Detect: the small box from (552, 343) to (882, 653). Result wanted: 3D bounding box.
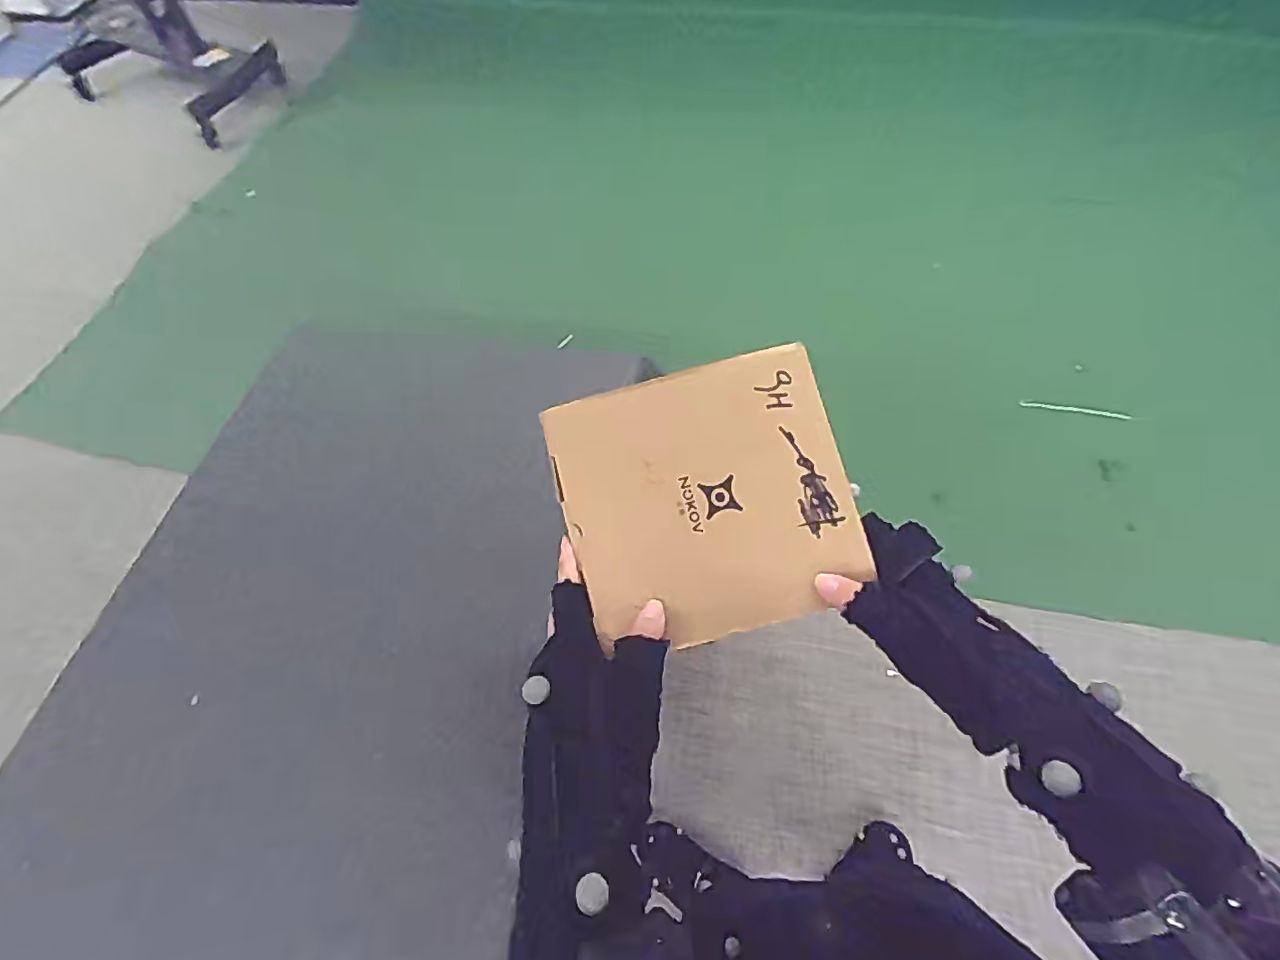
[{"bbox_3d":[0.049,0.022,0.423,0.179,0.176,0.168,-17,80,-1],"label":"small box"}]
